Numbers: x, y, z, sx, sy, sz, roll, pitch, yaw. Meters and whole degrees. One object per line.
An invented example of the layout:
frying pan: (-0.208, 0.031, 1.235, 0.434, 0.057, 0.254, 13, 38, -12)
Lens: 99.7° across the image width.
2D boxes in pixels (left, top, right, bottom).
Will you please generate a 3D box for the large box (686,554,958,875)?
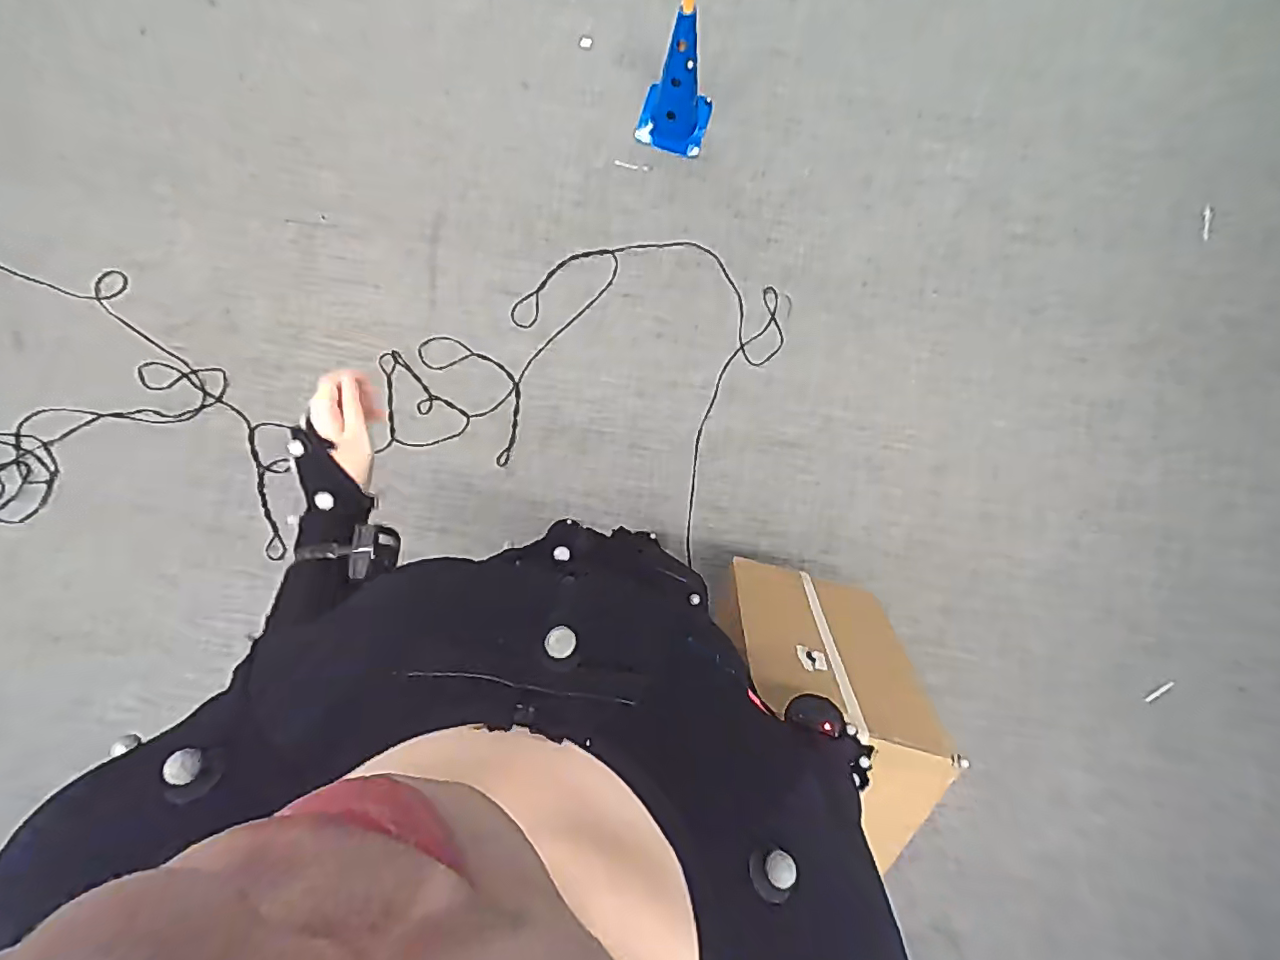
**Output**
large box: (0.277, 0.402, 0.996, 0.320, 0.408, 0.320, 14, 115, -2)

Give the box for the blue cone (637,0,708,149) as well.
blue cone: (0.103, -1.109, 1.460, 0.193, 0.380, 0.192, 18, 84, -1)
